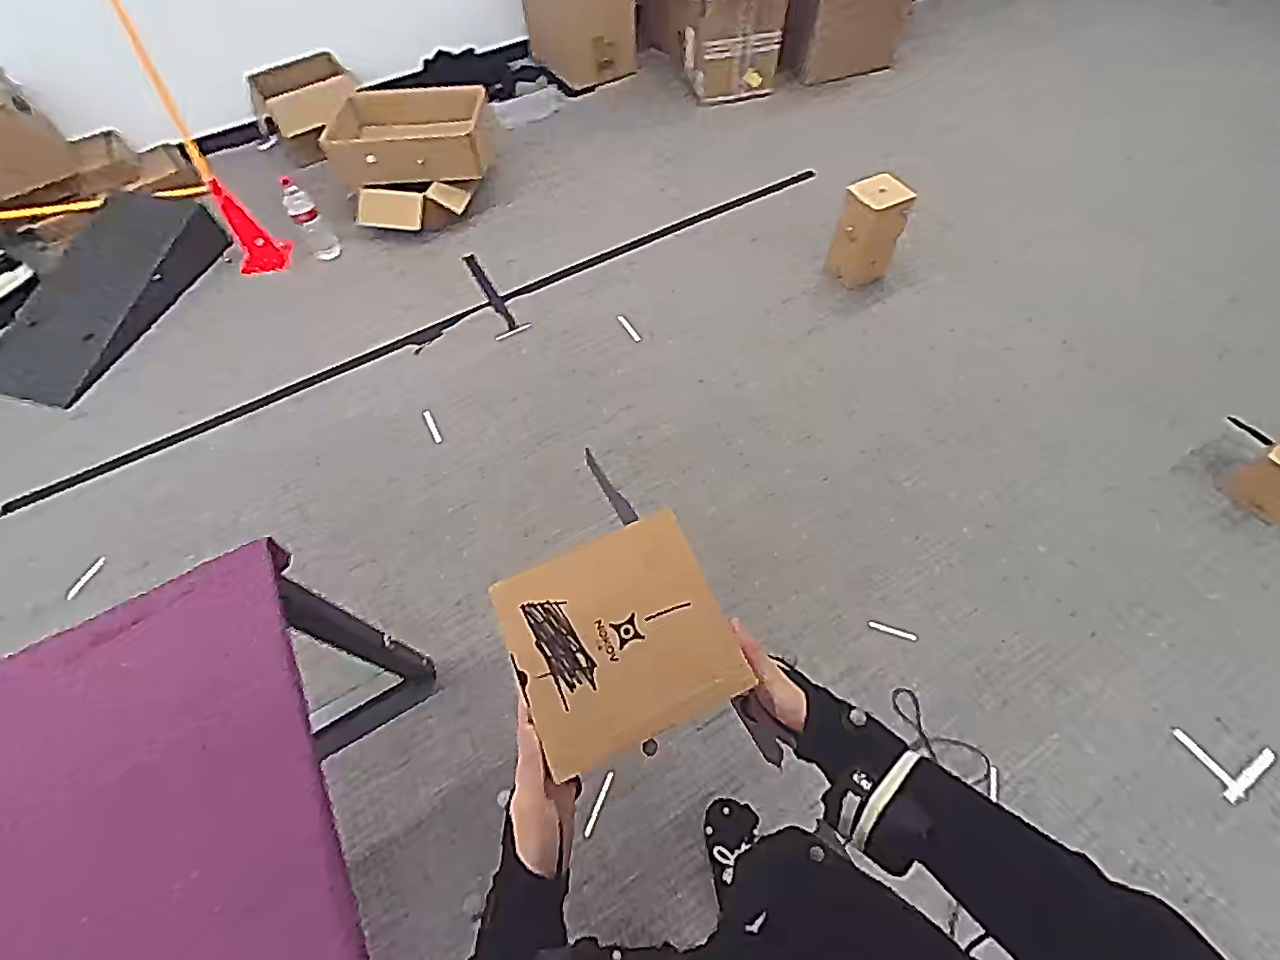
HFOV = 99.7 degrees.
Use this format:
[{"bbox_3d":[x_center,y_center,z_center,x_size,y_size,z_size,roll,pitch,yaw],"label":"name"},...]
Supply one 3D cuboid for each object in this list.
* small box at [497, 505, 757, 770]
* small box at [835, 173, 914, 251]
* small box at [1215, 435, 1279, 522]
[{"bbox_3d":[-0.011,0.152,0.522,0.179,0.176,0.168,-23,70,-7],"label":"small box"},{"bbox_3d":[0.834,-0.960,1.945,0.179,0.176,0.168,-24,60,-10],"label":"small box"},{"bbox_3d":[1.806,-0.009,1.524,0.179,0.176,0.168,-30,63,-15],"label":"small box"}]
